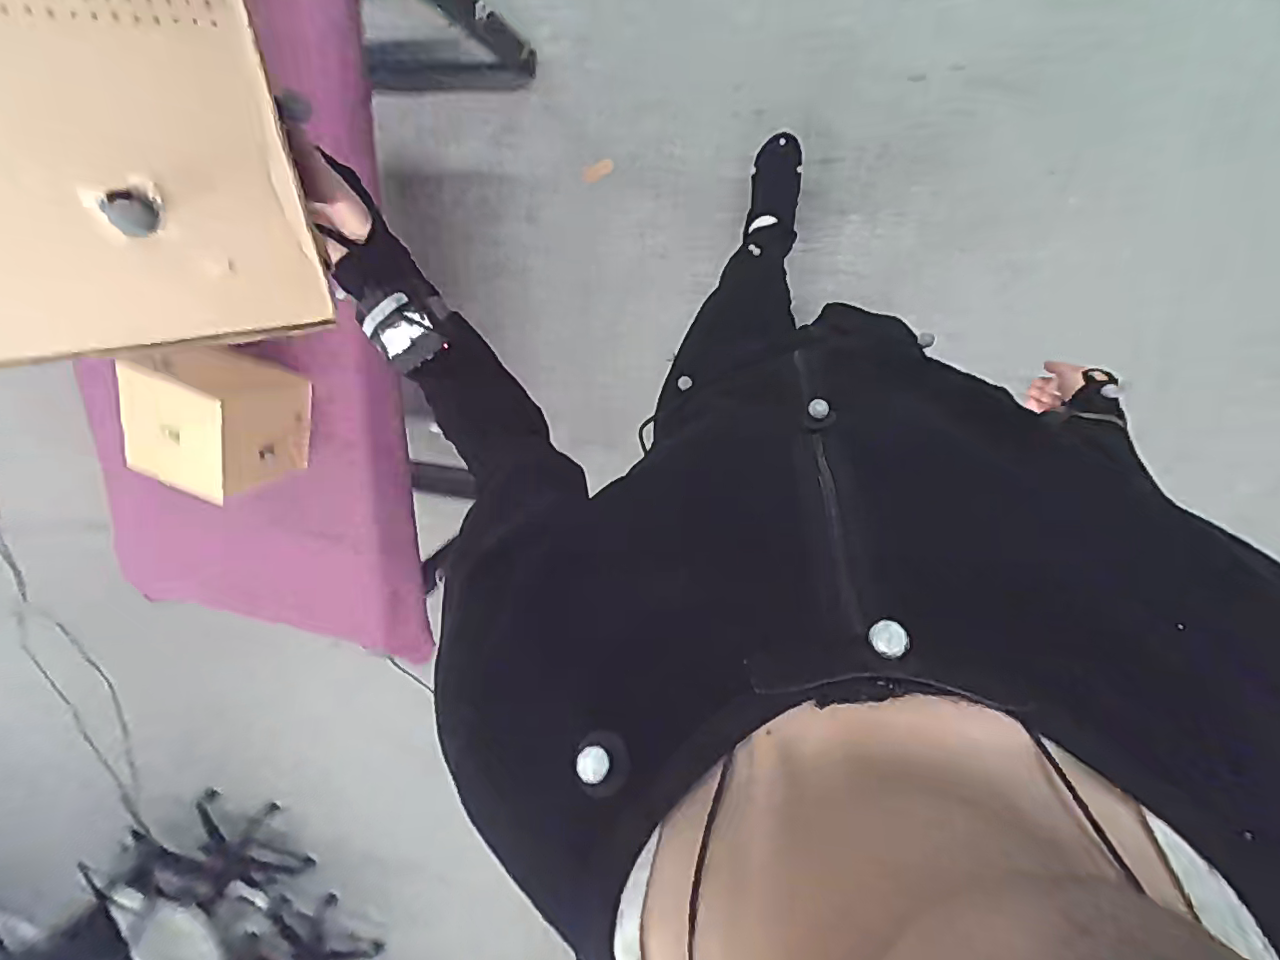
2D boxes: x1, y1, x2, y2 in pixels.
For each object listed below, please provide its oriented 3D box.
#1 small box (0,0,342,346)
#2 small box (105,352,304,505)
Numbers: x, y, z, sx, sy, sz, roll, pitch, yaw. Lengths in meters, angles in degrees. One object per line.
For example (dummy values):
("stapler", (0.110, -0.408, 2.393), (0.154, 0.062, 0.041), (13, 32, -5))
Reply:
("small box", (-0.274, -0.192, 0.261), (0.168, 0.179, 0.176), (56, 151, 33))
("small box", (-0.656, -0.090, 0.837), (0.179, 0.176, 0.168), (20, 113, 6))
